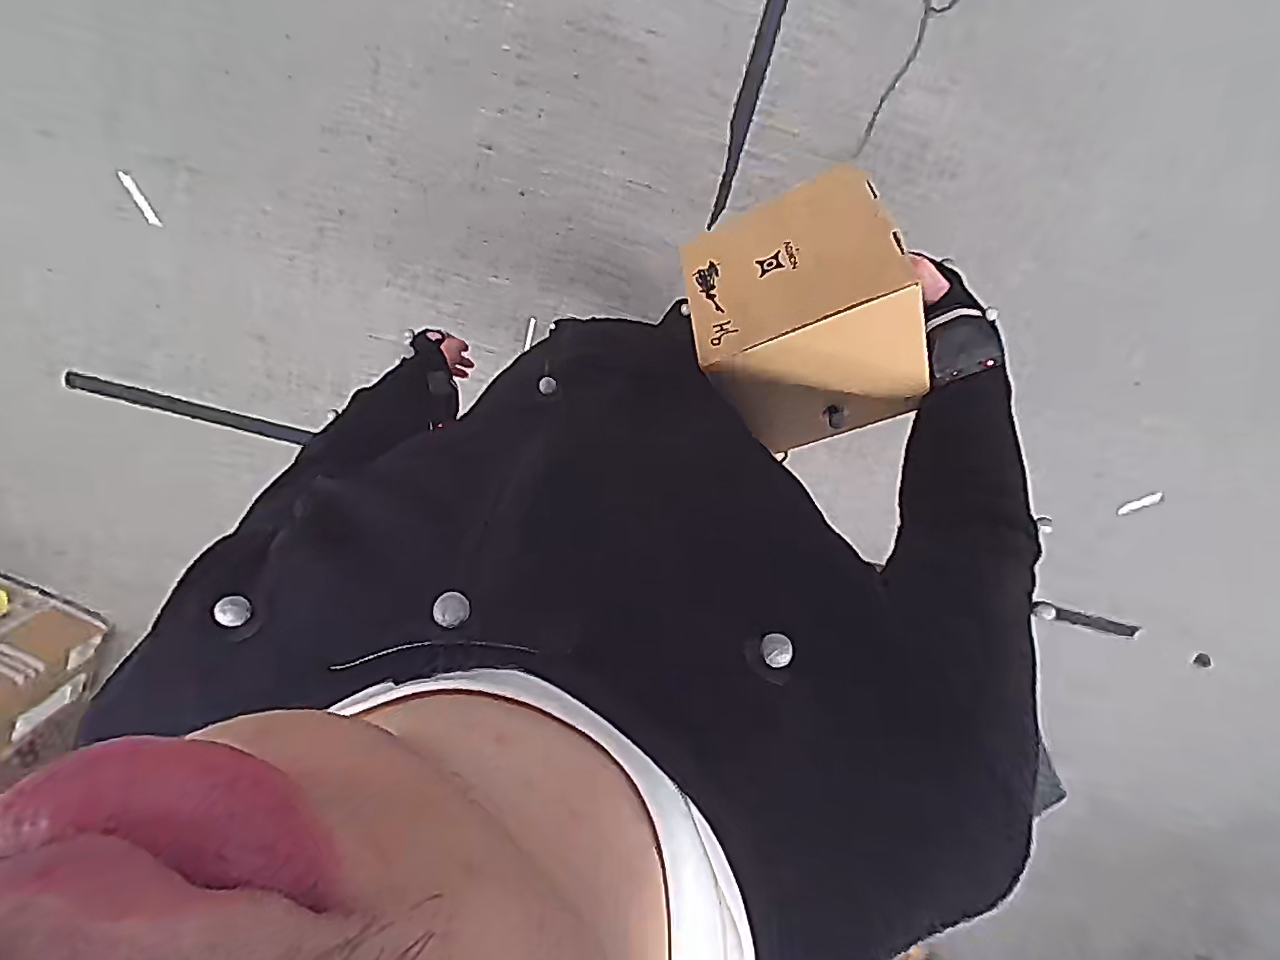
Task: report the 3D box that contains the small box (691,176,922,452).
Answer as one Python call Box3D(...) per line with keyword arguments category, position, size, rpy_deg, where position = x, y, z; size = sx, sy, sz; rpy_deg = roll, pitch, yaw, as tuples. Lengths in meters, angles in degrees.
Box3D(category="small box", position=(0.169, -0.154, 0.548), size=(0.179, 0.168, 0.176), rpy_deg=(-17, 146, 21))
